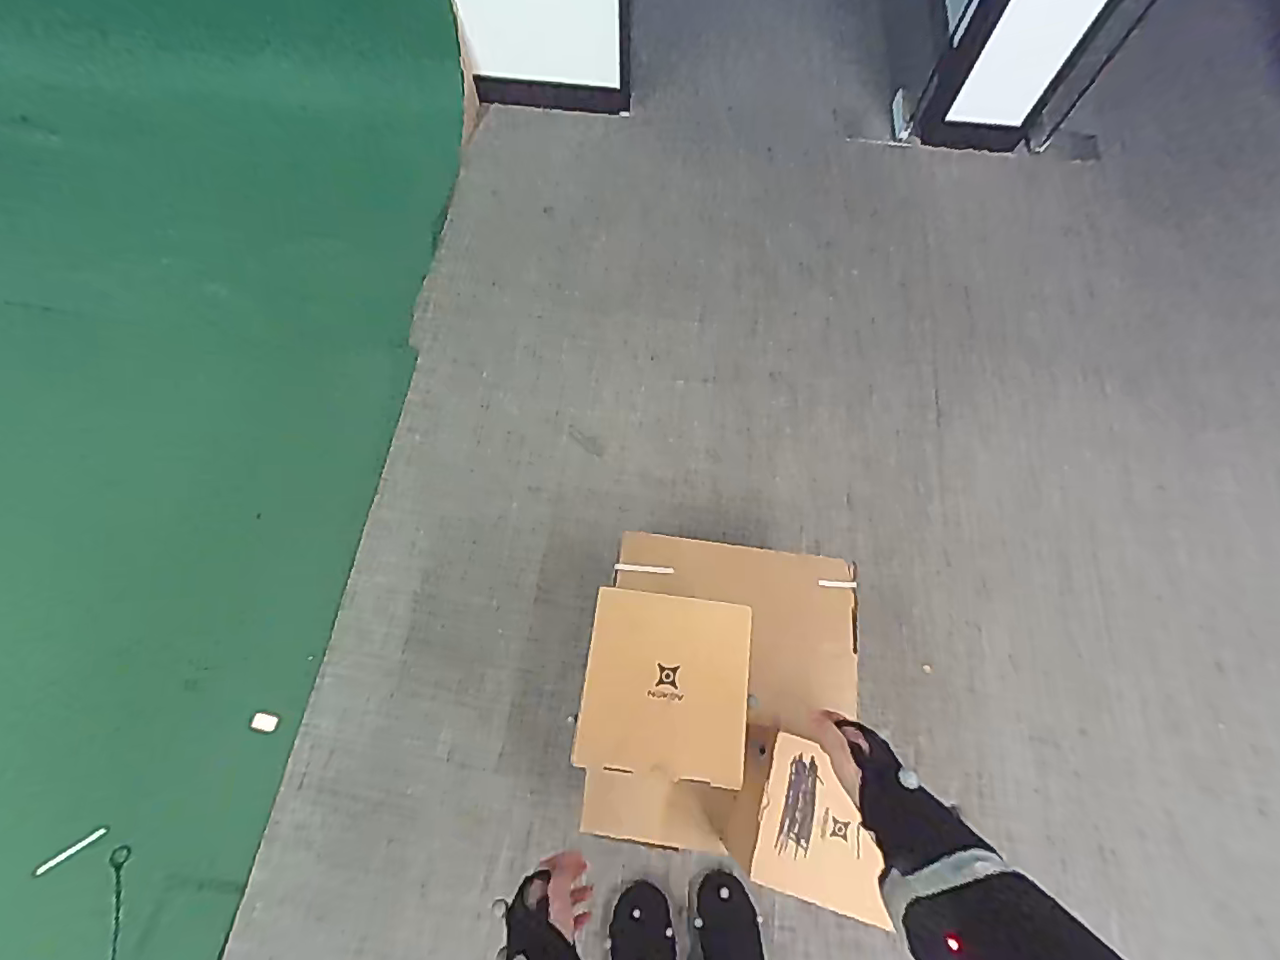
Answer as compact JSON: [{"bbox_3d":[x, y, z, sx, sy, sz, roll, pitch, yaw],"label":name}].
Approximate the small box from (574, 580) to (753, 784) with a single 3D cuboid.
[{"bbox_3d":[0.026,0.227,0.621,0.168,0.176,0.179,7,69,2],"label":"small box"}]
